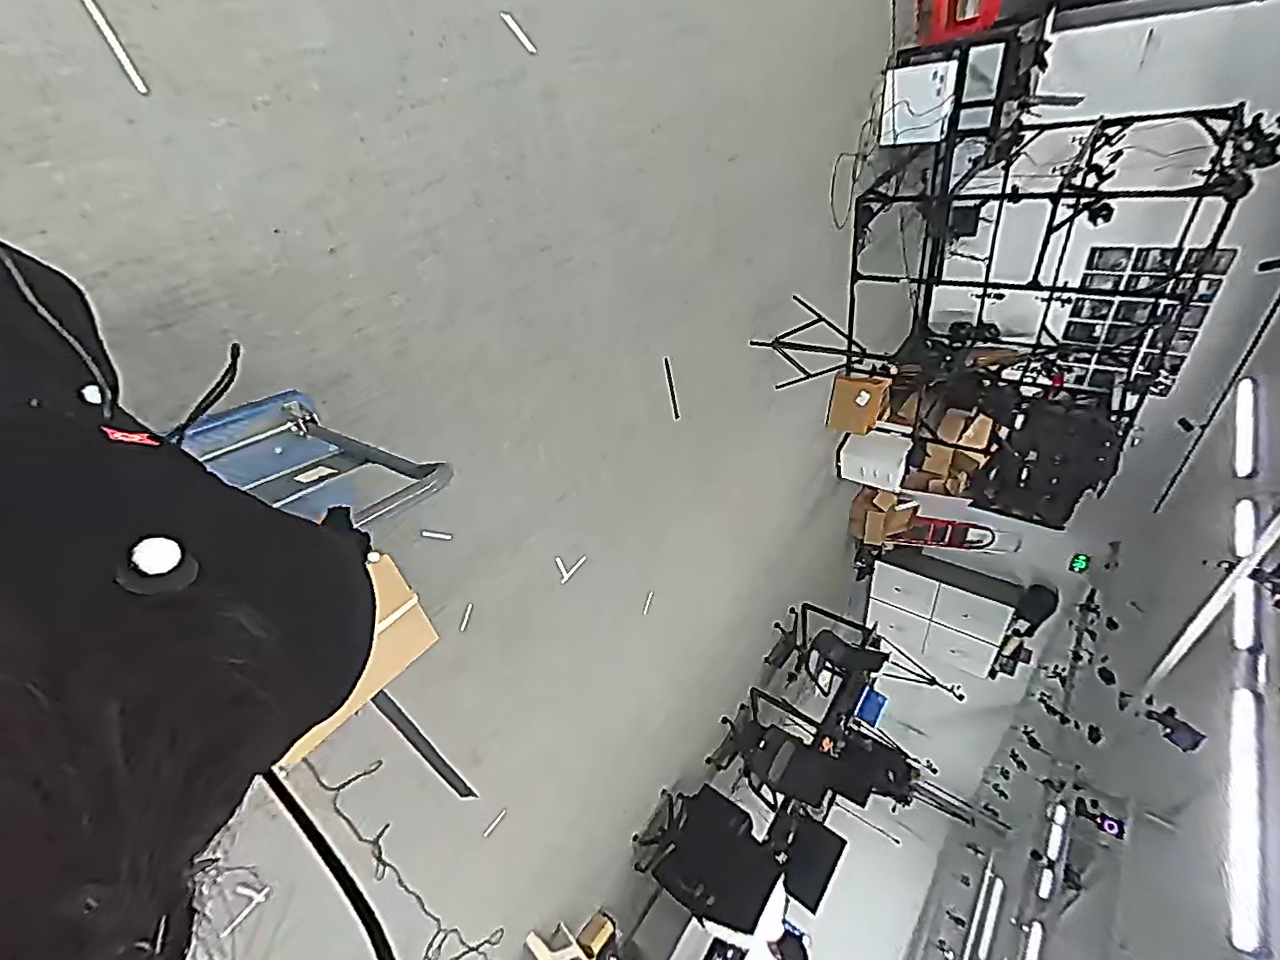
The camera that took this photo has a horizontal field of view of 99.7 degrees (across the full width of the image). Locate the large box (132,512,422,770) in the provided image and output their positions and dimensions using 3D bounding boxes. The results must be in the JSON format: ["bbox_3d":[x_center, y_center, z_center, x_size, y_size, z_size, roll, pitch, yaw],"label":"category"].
[{"bbox_3d":[-0.801,0.342,1.240,0.408,0.320,0.320,-42,136,-36],"label":"large box"}]
